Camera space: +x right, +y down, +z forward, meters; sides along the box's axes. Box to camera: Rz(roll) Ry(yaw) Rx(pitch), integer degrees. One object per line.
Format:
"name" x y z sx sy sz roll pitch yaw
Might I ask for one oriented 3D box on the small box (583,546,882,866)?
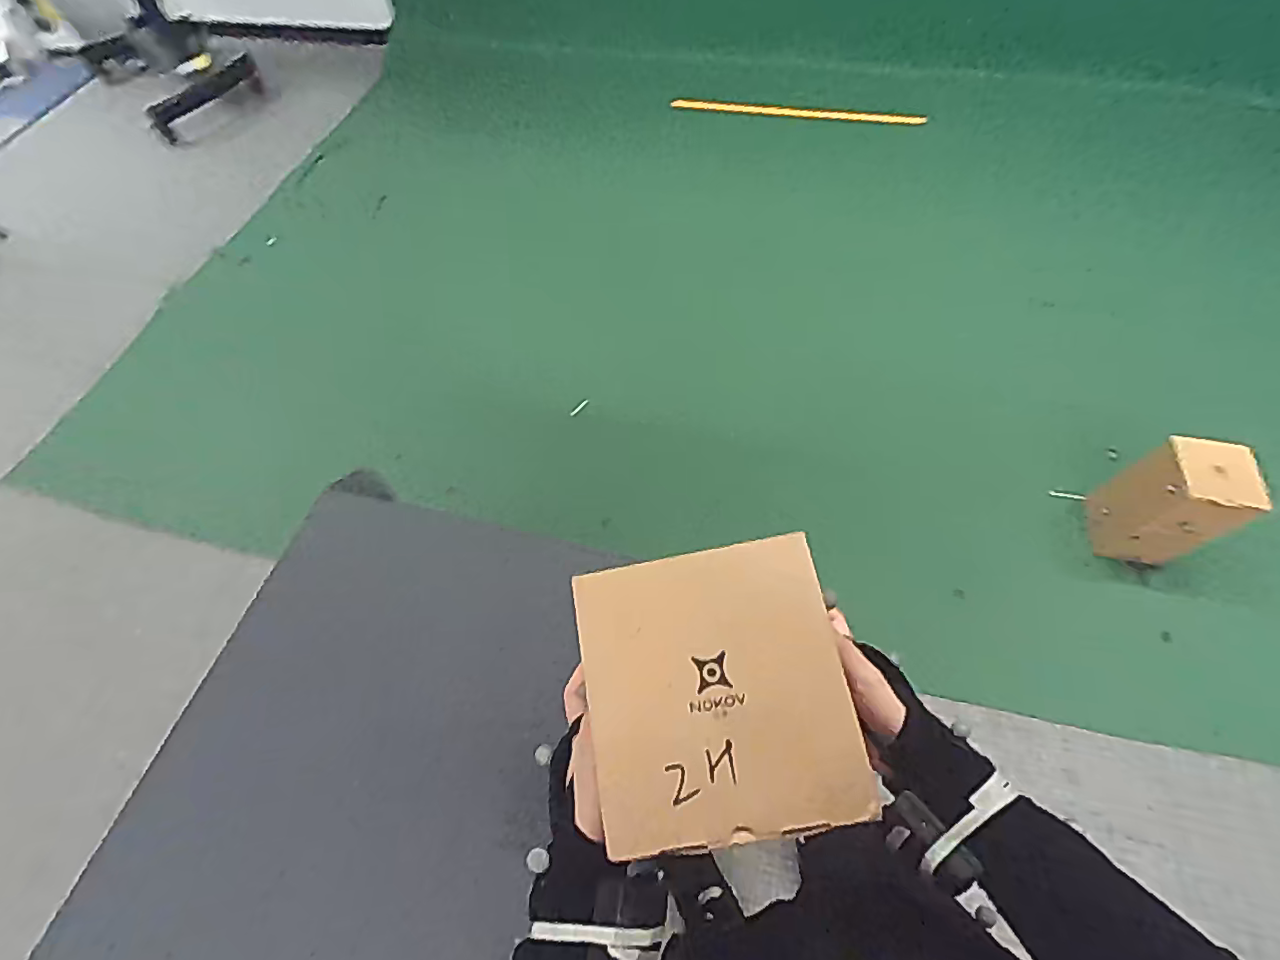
"small box" 0.061 0.166 0.424 0.168 0.176 0.179 -12 70 5

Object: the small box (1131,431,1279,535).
"small box" 1.344 0.010 1.303 0.168 0.176 0.179 9 60 9
